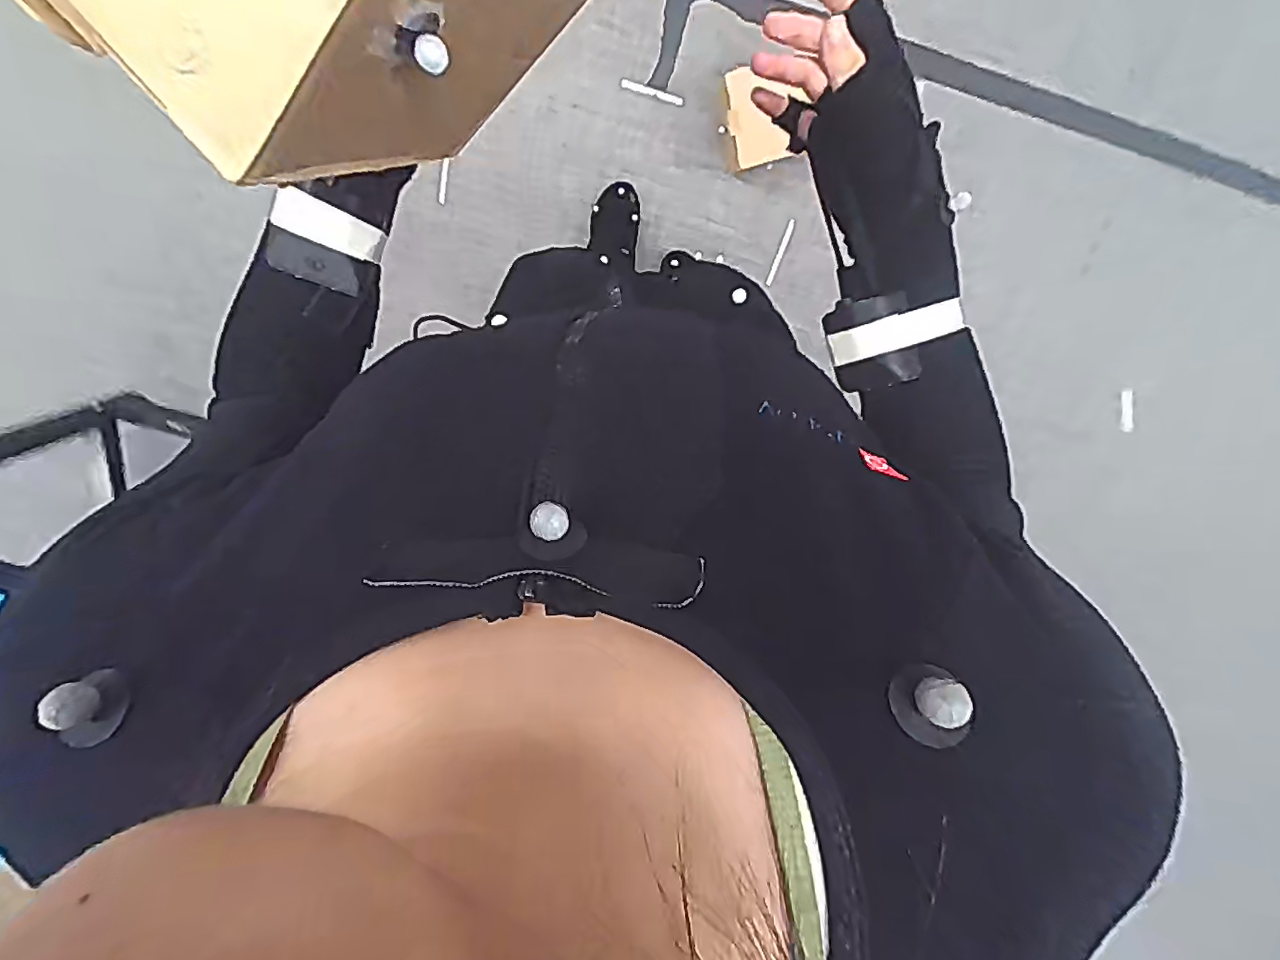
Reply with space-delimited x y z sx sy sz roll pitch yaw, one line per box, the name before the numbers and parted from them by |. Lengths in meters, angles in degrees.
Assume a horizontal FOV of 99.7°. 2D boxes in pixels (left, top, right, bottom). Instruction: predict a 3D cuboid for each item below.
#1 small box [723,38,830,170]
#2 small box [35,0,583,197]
small box | 0.269 -0.750 1.100 0.179 0.176 0.168 -14 115 9
small box | -0.125 -0.245 0.205 0.179 0.176 0.168 -27 113 31
